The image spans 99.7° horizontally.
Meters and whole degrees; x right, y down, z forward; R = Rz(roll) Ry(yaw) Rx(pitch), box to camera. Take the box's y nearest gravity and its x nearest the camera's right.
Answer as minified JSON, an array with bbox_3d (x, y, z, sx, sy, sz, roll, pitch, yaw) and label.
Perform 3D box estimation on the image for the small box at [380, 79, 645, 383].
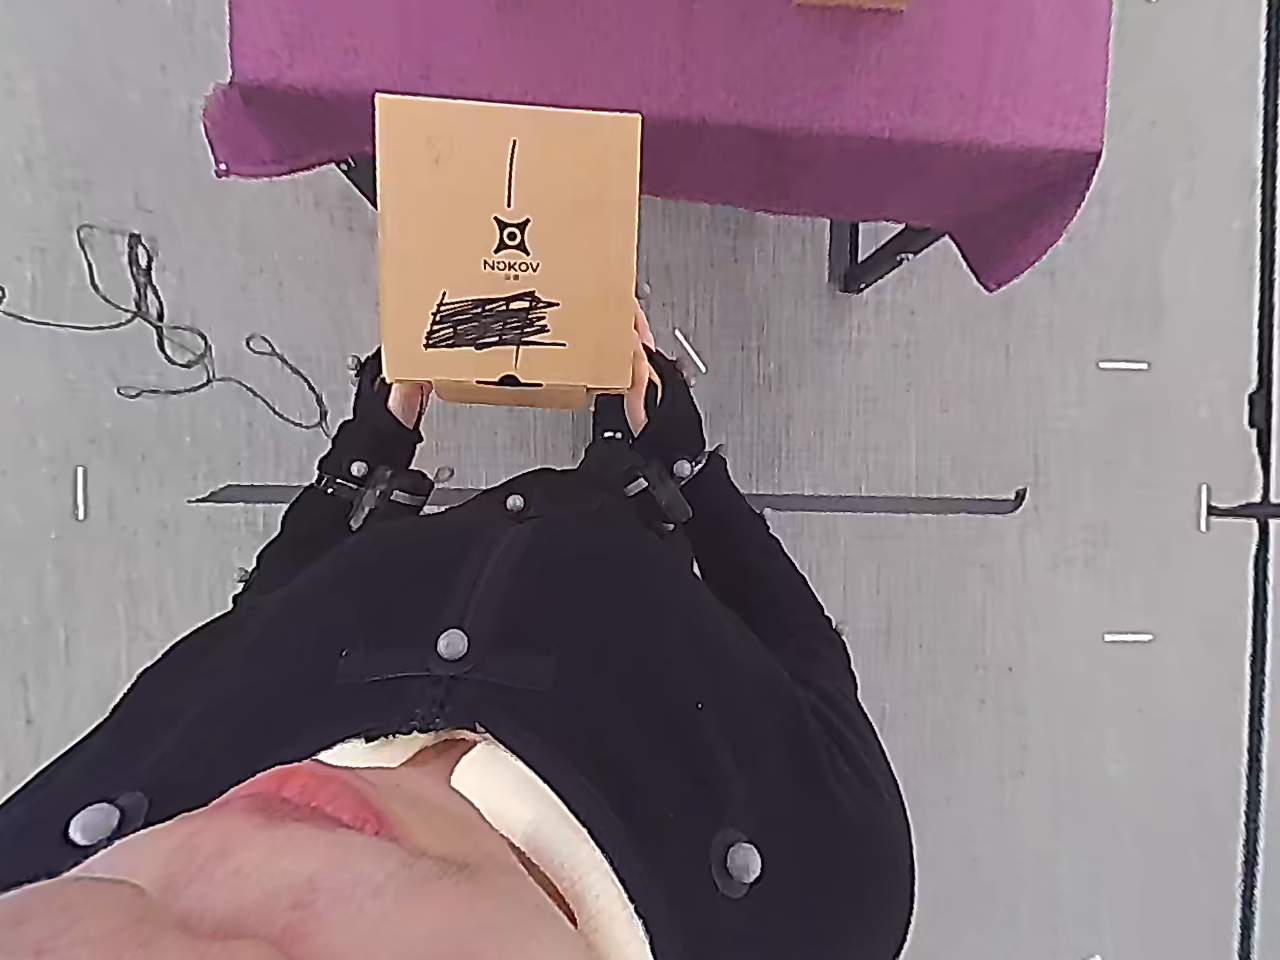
[{"bbox_3d":[-0.087,-0.169,0.427,0.168,0.176,0.179,2,99,-5],"label":"small box"}]

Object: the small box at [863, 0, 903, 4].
[{"bbox_3d":[0.298,-0.746,0.670,0.168,0.176,0.179,1,92,-4],"label":"small box"}]
